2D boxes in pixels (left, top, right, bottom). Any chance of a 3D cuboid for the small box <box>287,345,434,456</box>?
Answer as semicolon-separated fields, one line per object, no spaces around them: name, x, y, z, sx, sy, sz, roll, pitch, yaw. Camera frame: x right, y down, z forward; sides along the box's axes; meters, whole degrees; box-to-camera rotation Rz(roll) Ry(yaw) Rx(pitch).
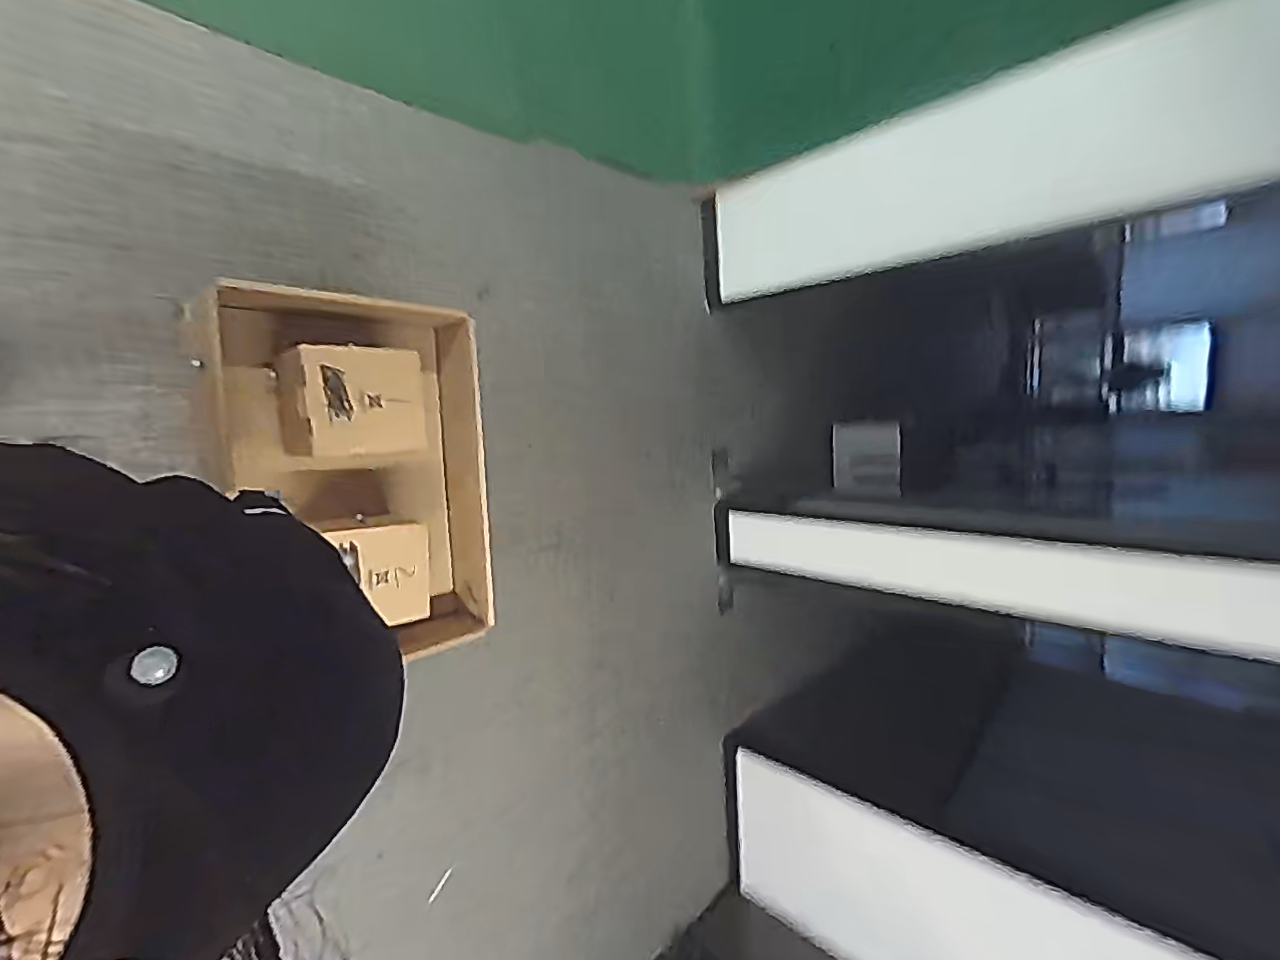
small box;-0.472;-0.127;0.907;0.179;0.176;0.168;-9;100;-45
